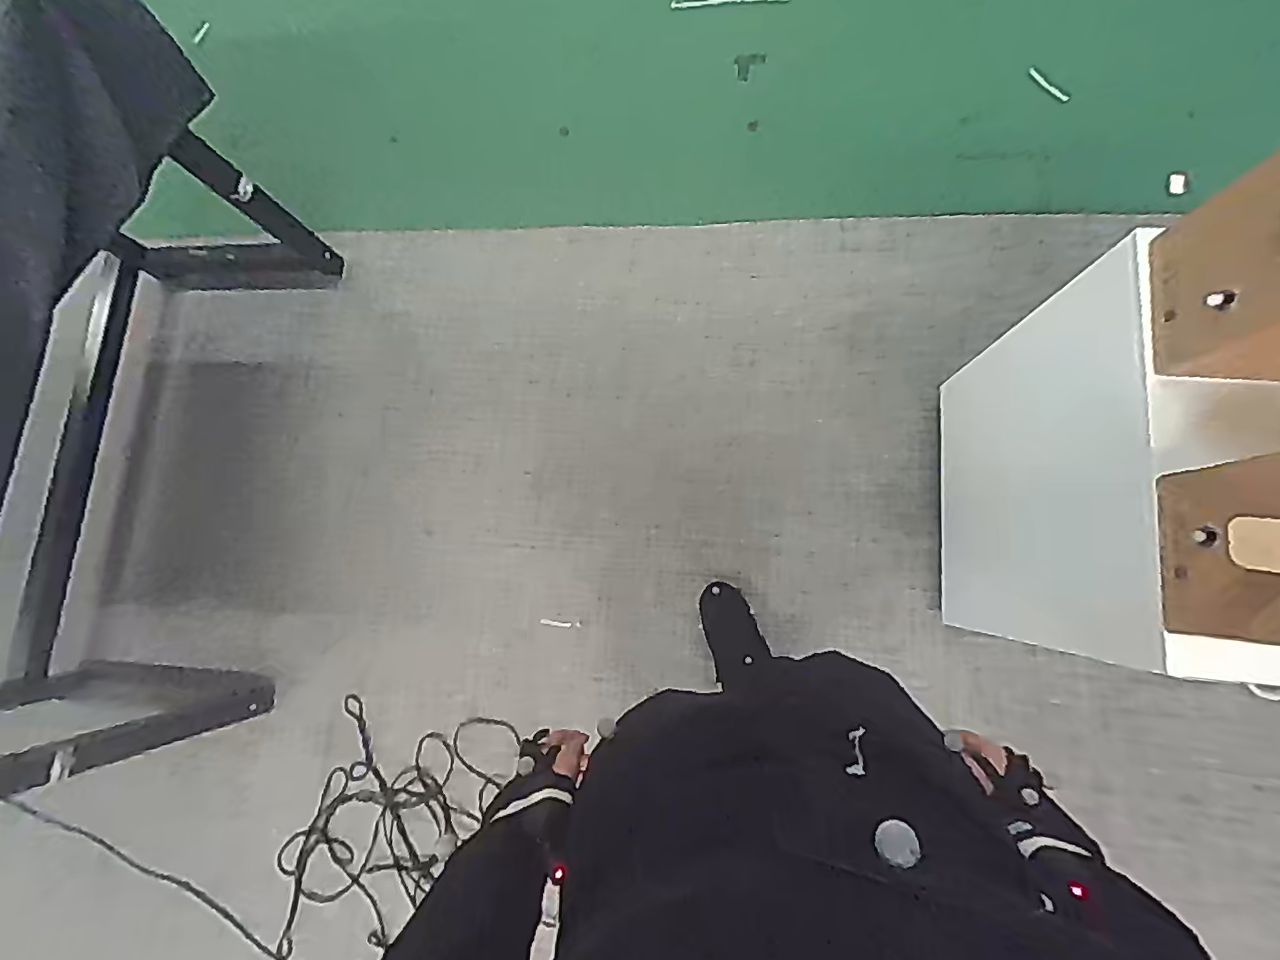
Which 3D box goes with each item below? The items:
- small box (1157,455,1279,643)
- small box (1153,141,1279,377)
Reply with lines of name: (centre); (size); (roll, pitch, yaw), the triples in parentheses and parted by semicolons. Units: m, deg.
small box: (0.625, 0.067, 0.482); (0.179, 0.176, 0.168); (4, 81, 8)
small box: (0.652, -0.205, 0.524); (0.179, 0.176, 0.168); (4, 83, 6)
